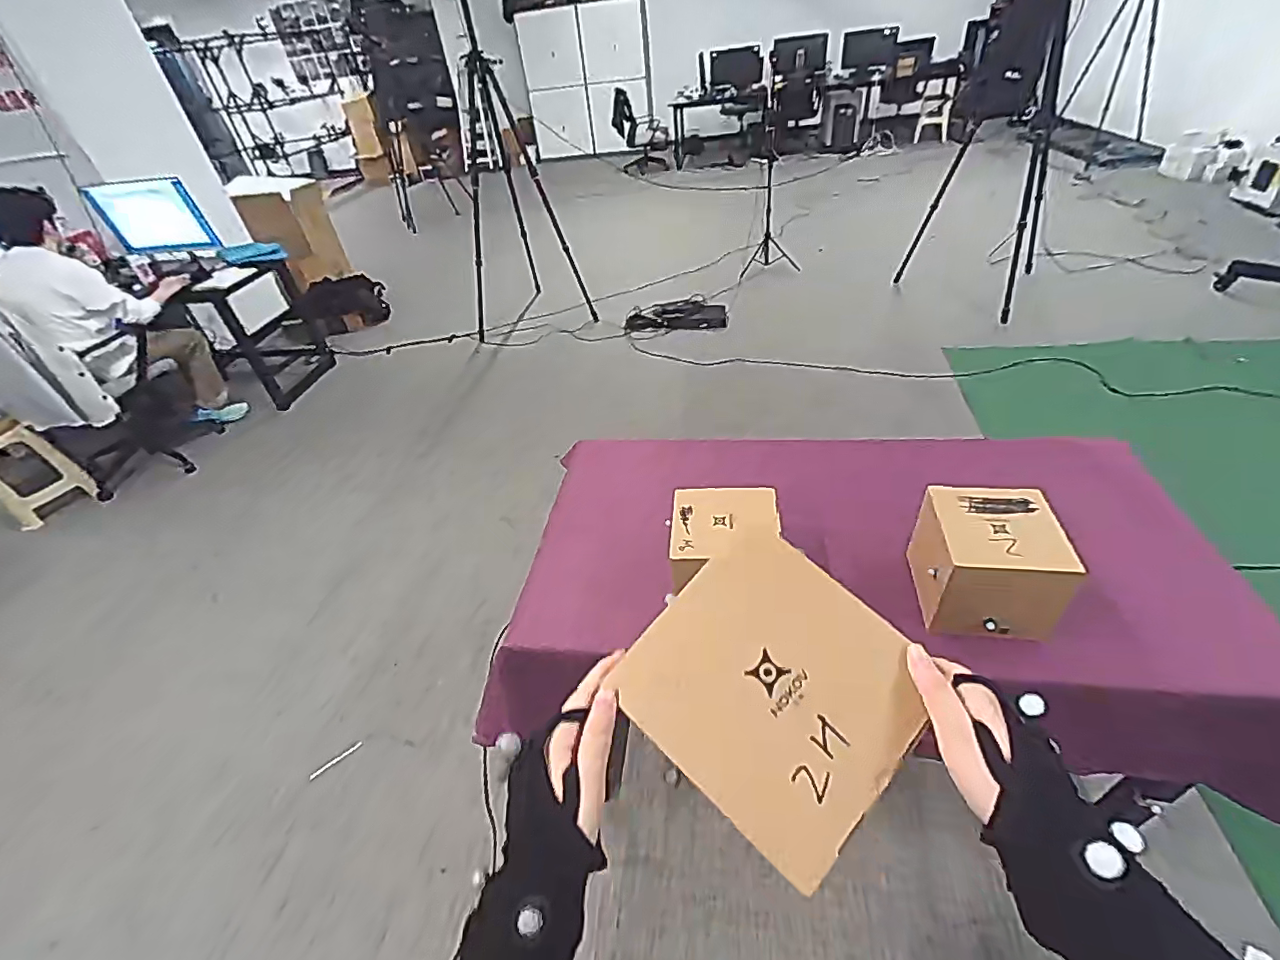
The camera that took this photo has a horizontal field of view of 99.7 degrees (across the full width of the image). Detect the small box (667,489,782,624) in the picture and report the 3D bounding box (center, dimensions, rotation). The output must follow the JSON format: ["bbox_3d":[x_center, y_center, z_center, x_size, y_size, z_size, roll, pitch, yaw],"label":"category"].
[{"bbox_3d":[0.142,0.133,0.934,0.179,0.176,0.168,0,40,8],"label":"small box"}]
